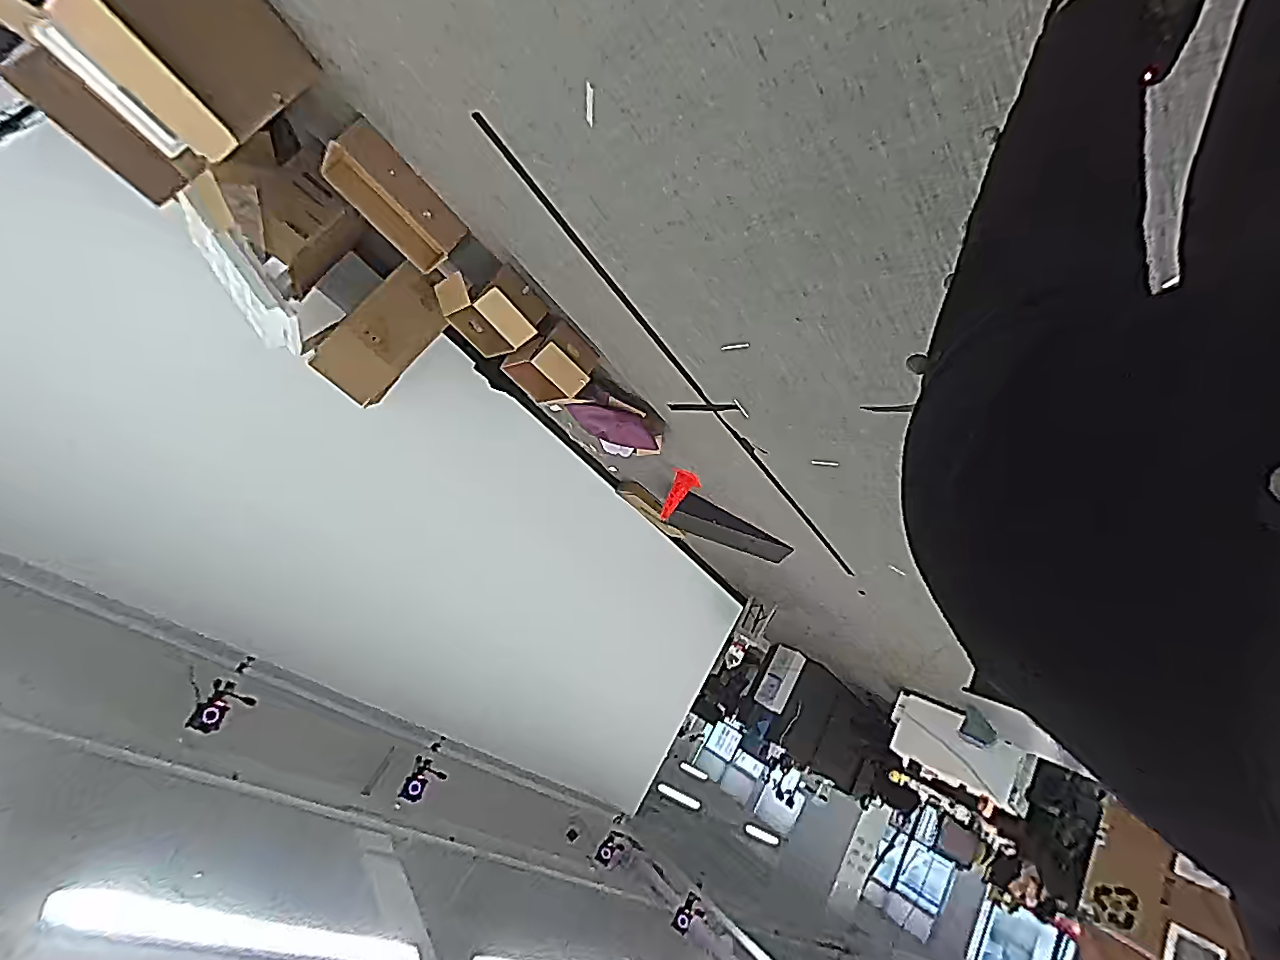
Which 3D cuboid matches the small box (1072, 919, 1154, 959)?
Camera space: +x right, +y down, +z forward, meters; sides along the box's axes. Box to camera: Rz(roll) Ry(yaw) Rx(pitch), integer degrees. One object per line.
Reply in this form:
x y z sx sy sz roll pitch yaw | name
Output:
1.459 1.501 1.660 0.179 0.176 0.168 41 164 -28 | small box
